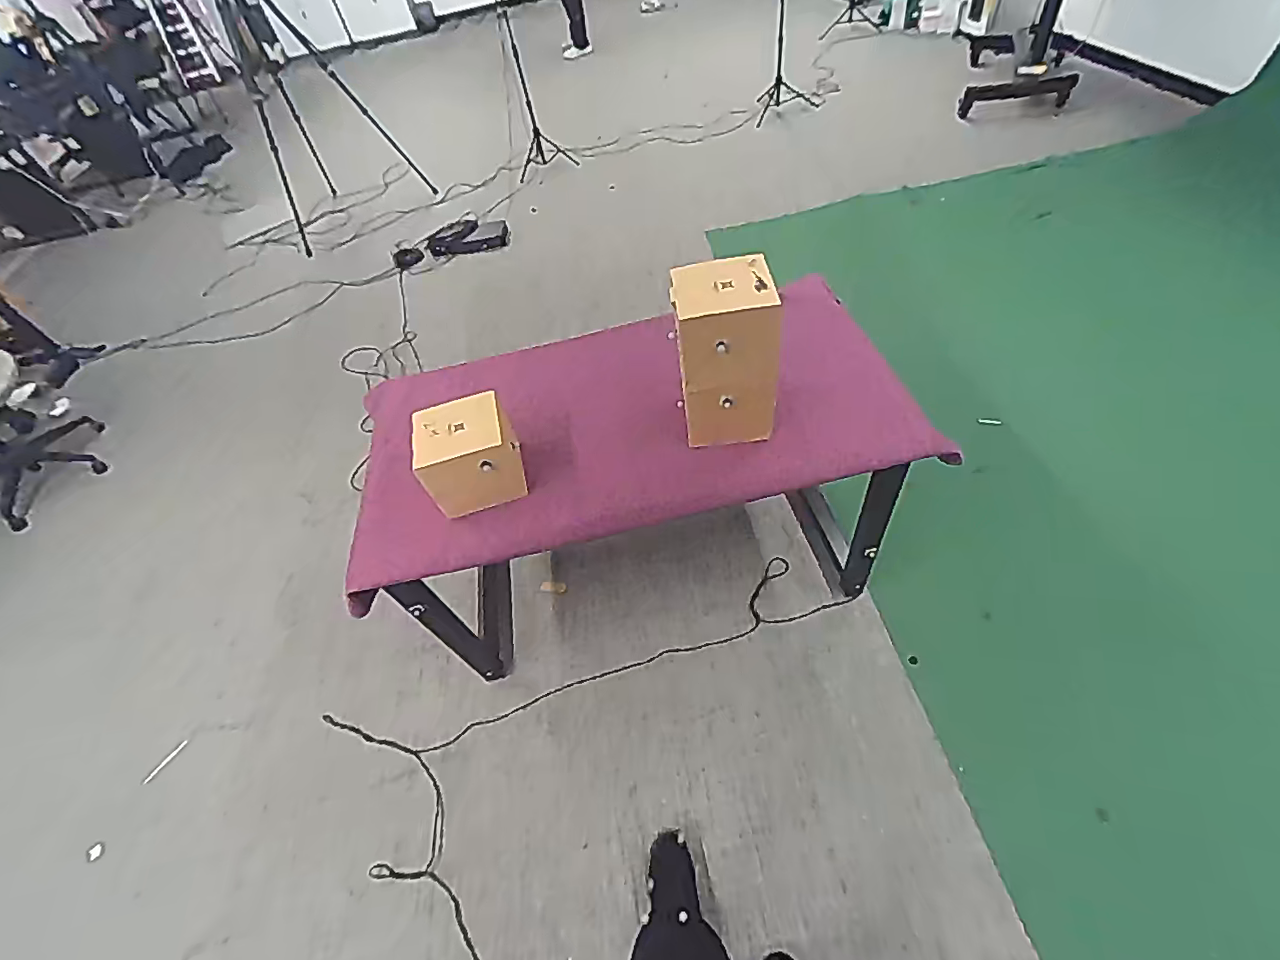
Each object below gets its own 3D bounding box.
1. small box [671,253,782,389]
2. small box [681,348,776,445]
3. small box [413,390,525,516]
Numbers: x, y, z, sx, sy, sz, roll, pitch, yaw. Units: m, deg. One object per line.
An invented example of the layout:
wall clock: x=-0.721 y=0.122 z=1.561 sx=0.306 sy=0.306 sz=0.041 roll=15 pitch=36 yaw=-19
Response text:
small box: x=0.159 y=-0.287 z=1.001 sx=0.179 sy=0.176 sz=0.168 roll=-8 pitch=52 yaw=6
small box: x=0.183 y=-0.187 z=1.128 sx=0.179 sy=0.176 sz=0.168 roll=-5 pitch=52 yaw=7
small box: x=-0.346 y=-0.053 z=1.117 sx=0.179 sy=0.176 sz=0.168 roll=-17 pitch=51 yaw=-3
